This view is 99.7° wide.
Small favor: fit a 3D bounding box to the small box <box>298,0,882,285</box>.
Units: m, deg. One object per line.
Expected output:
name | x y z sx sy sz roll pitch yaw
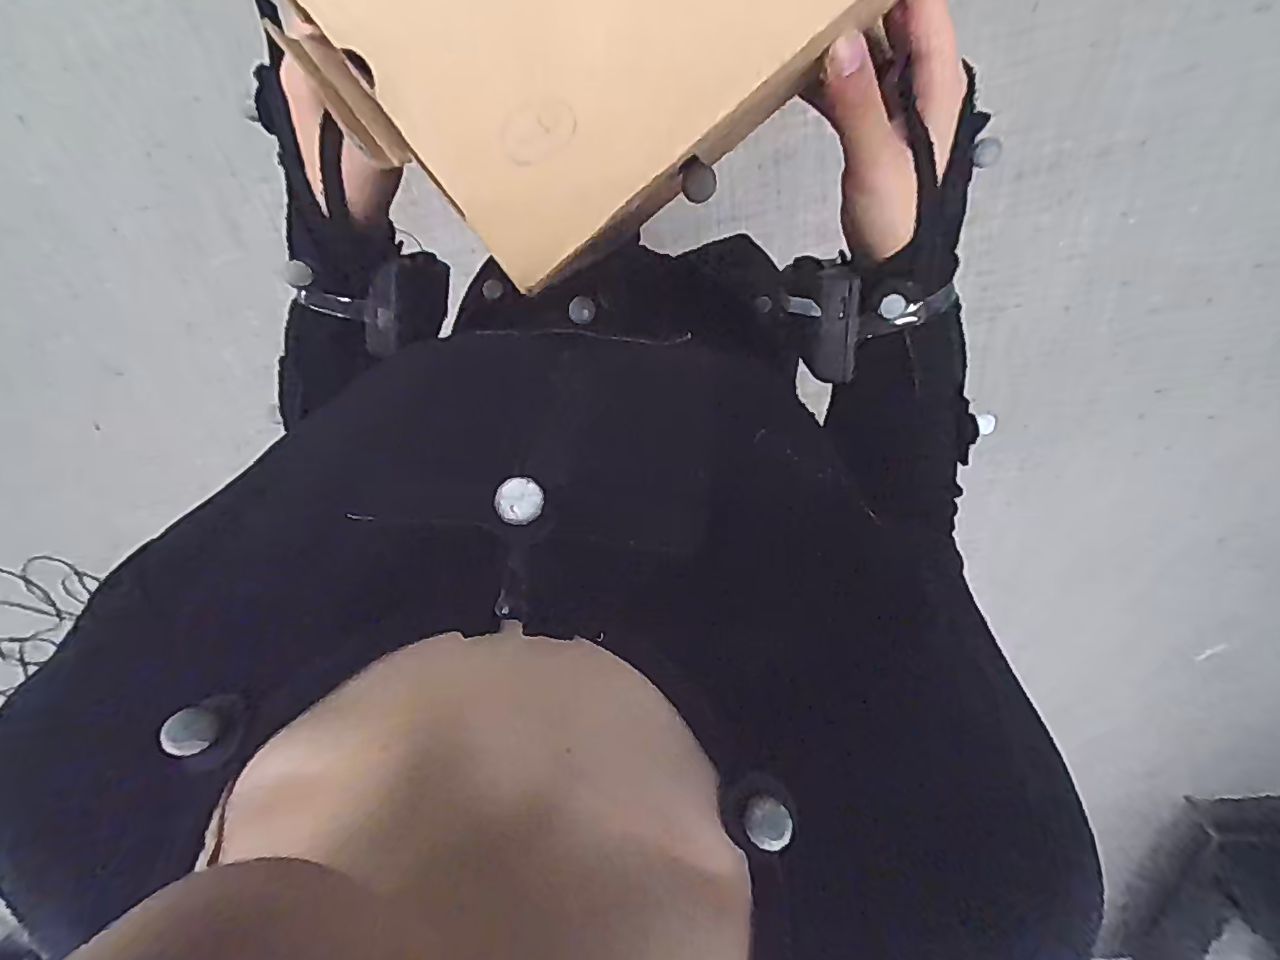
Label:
small box | -0.013 -0.212 0.226 0.179 0.176 0.168 -33 109 22
